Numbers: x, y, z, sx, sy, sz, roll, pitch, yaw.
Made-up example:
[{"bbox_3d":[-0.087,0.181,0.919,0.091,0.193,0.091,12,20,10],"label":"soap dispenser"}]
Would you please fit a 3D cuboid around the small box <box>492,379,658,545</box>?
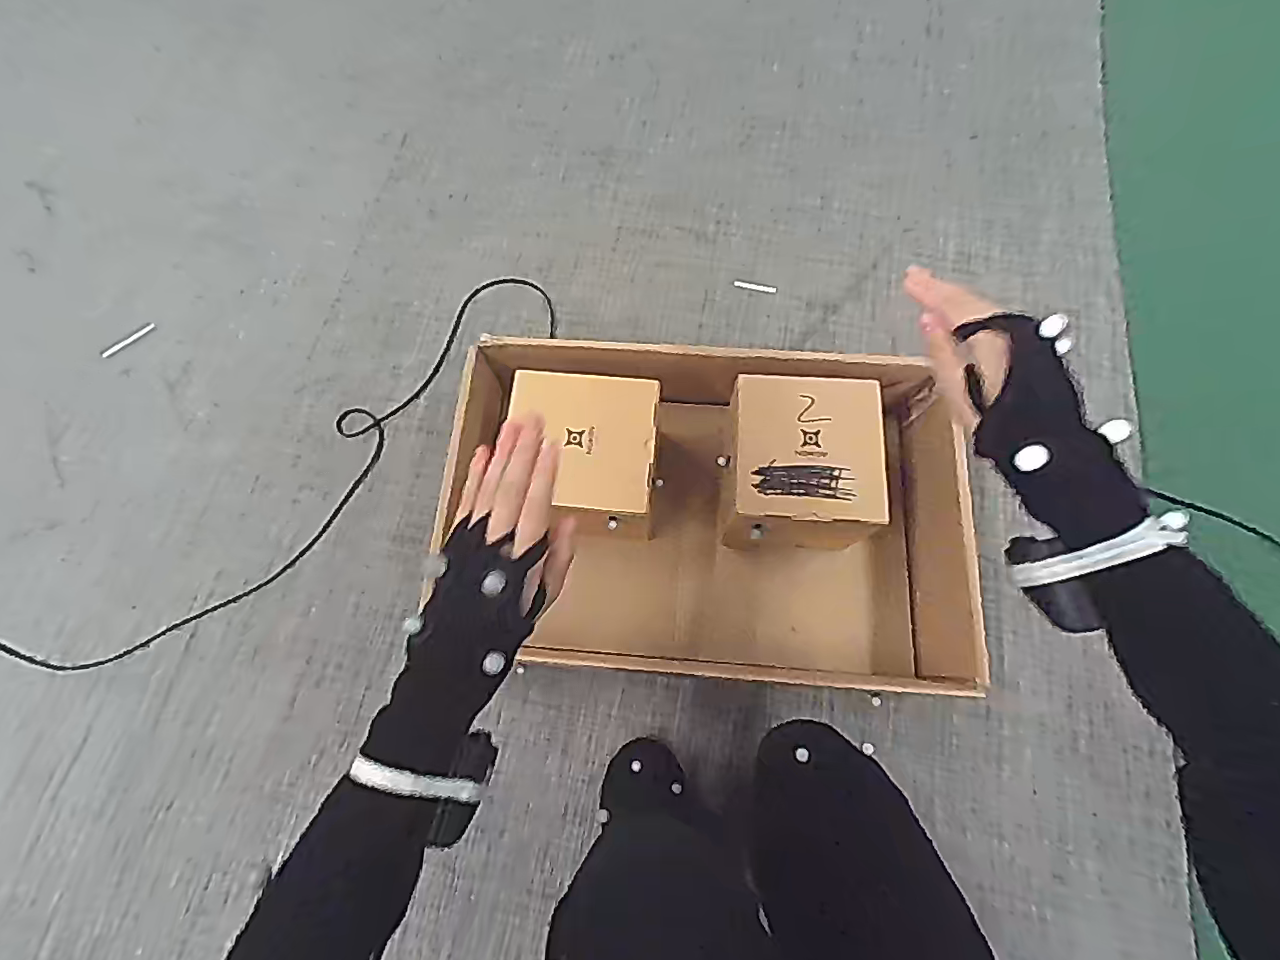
[{"bbox_3d":[-0.071,-0.015,0.703,0.179,0.176,0.168,5,73,2],"label":"small box"}]
